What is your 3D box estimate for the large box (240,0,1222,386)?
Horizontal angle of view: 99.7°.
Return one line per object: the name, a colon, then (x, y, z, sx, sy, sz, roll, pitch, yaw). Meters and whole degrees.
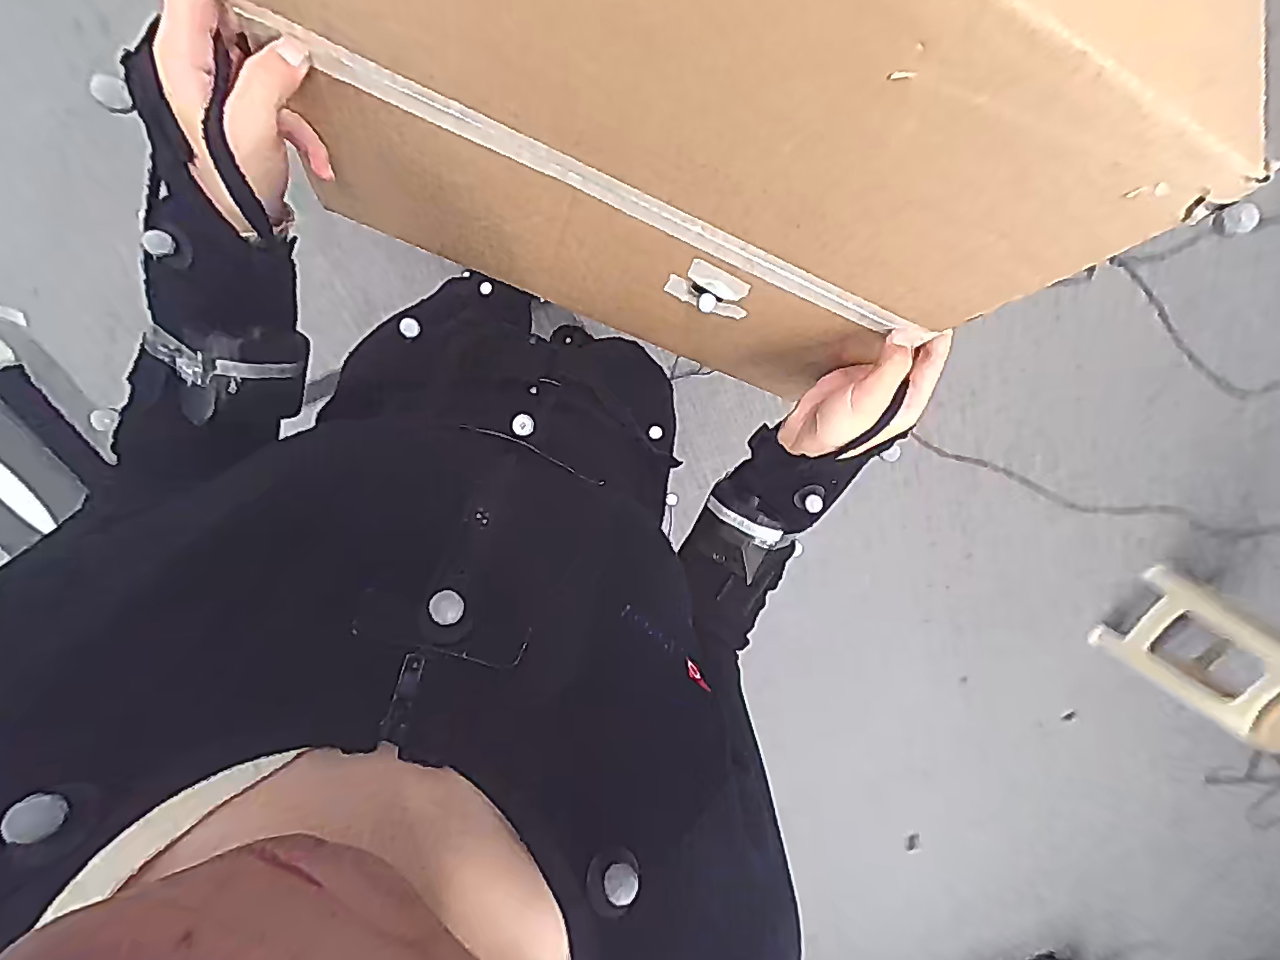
large box: (0.031, -0.302, 0.334, 0.408, 0.320, 0.320, 17, 79, -14)
